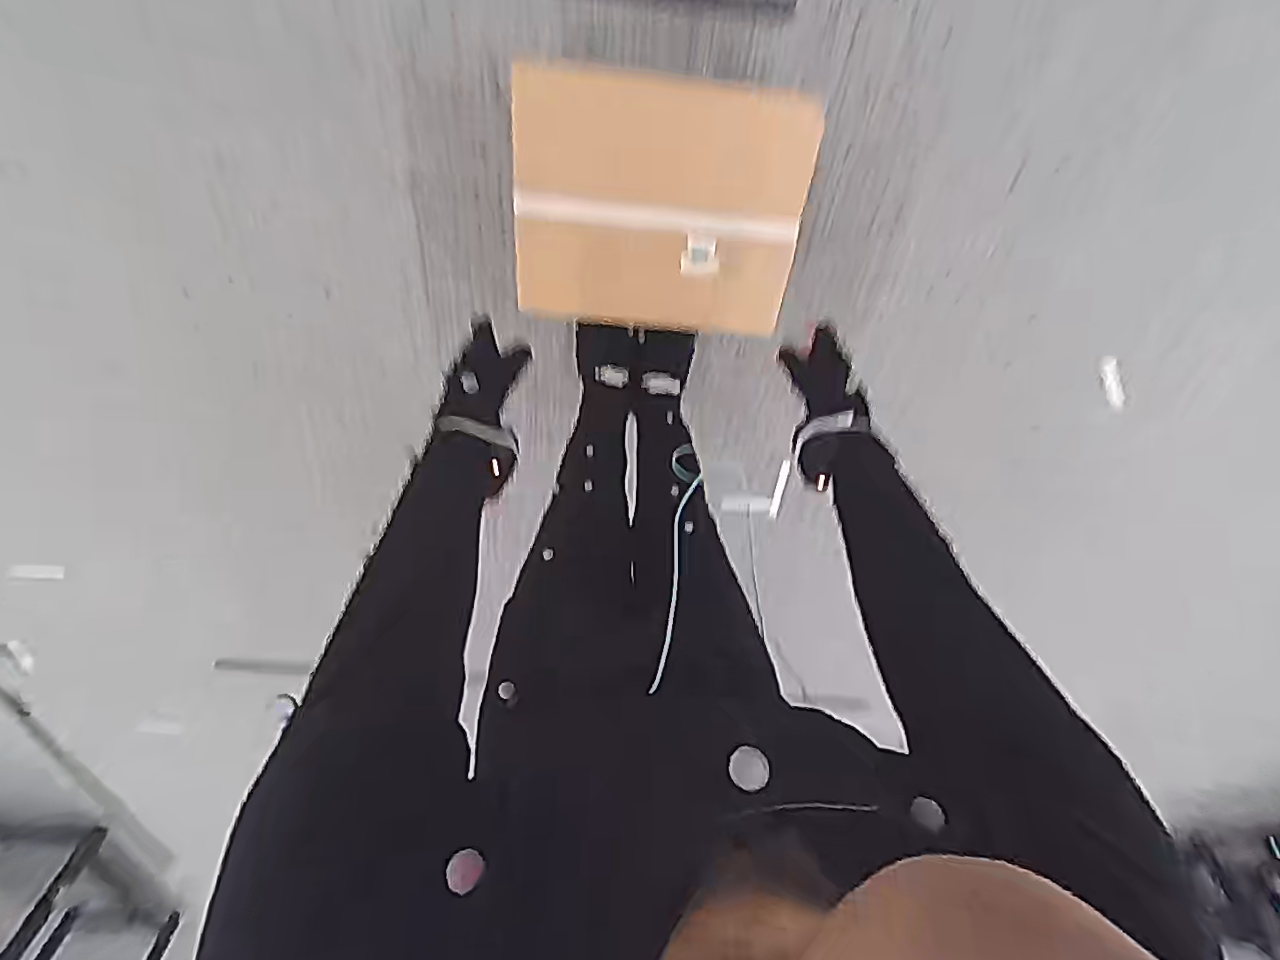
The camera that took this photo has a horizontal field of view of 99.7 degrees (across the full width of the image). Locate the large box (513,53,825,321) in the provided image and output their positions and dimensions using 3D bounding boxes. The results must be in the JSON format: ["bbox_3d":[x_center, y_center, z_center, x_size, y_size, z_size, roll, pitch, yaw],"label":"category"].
[{"bbox_3d":[0.021,-0.474,0.883,0.408,0.320,0.320,4,127,-5],"label":"large box"}]
